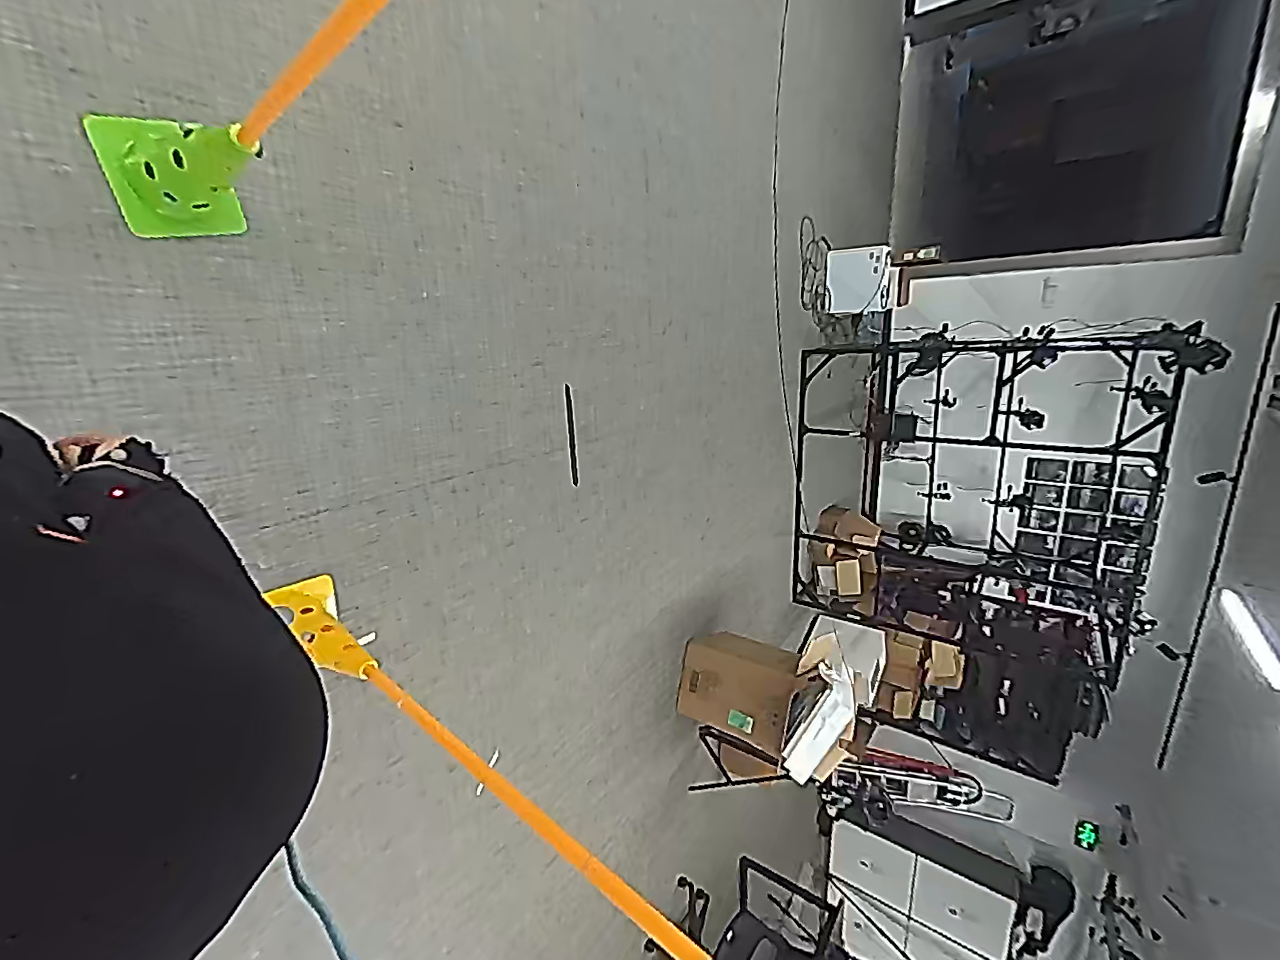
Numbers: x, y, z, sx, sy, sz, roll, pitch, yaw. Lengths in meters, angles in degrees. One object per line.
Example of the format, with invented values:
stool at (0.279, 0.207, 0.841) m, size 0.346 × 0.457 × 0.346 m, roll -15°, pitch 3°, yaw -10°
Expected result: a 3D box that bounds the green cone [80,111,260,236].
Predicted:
green cone at (-0.763, -0.553, 0.936) m, size 0.200 × 0.368 × 0.202 m, roll -34°, pitch 126°, yaw -46°
